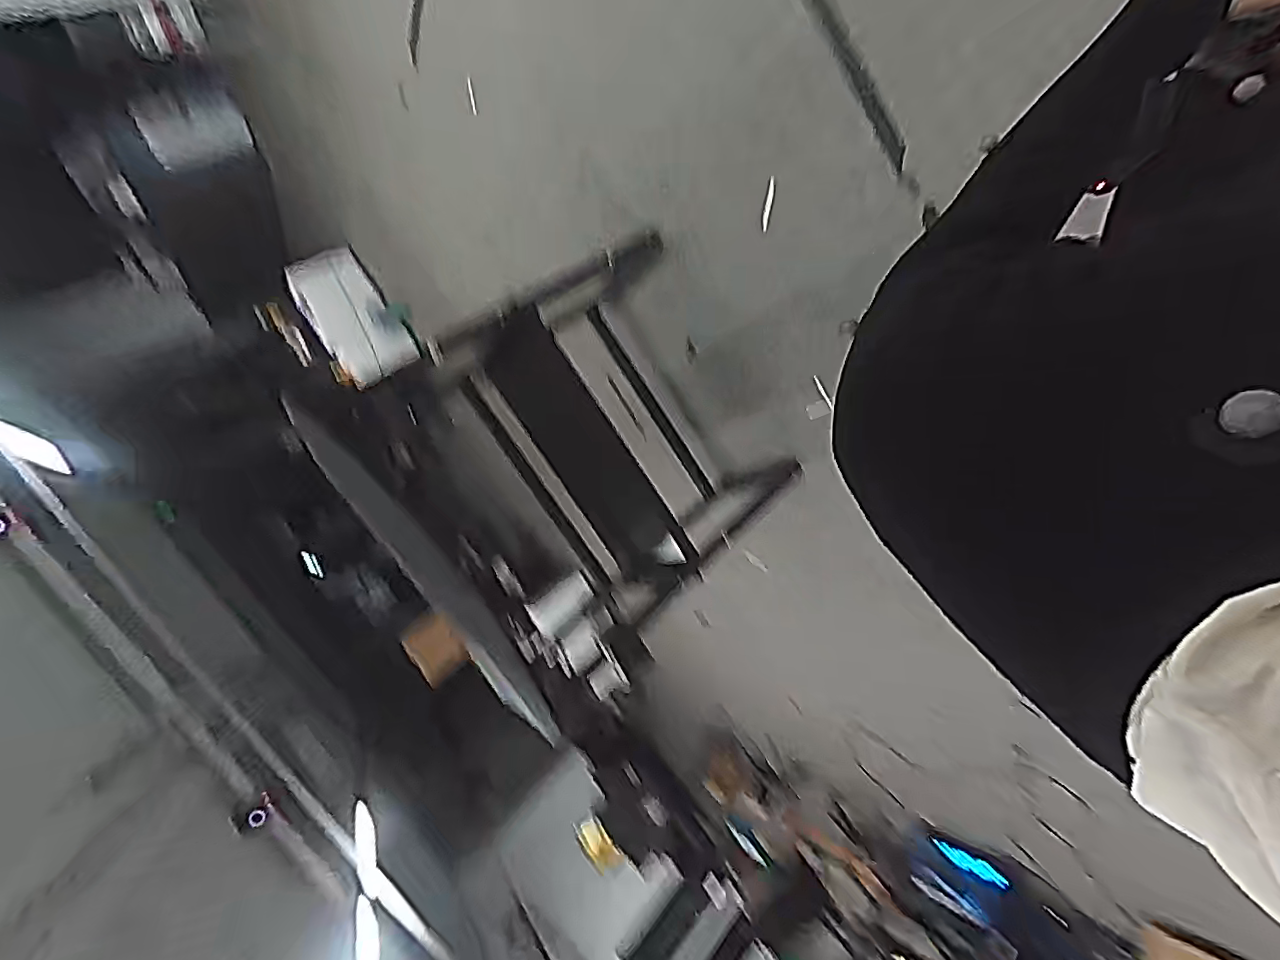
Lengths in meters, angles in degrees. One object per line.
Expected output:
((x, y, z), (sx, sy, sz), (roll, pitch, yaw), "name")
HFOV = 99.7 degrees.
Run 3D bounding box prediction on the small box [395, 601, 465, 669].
((-0.756, 0.553, 1.949), (0.168, 0.176, 0.179), (55, 153, -6), "small box")
